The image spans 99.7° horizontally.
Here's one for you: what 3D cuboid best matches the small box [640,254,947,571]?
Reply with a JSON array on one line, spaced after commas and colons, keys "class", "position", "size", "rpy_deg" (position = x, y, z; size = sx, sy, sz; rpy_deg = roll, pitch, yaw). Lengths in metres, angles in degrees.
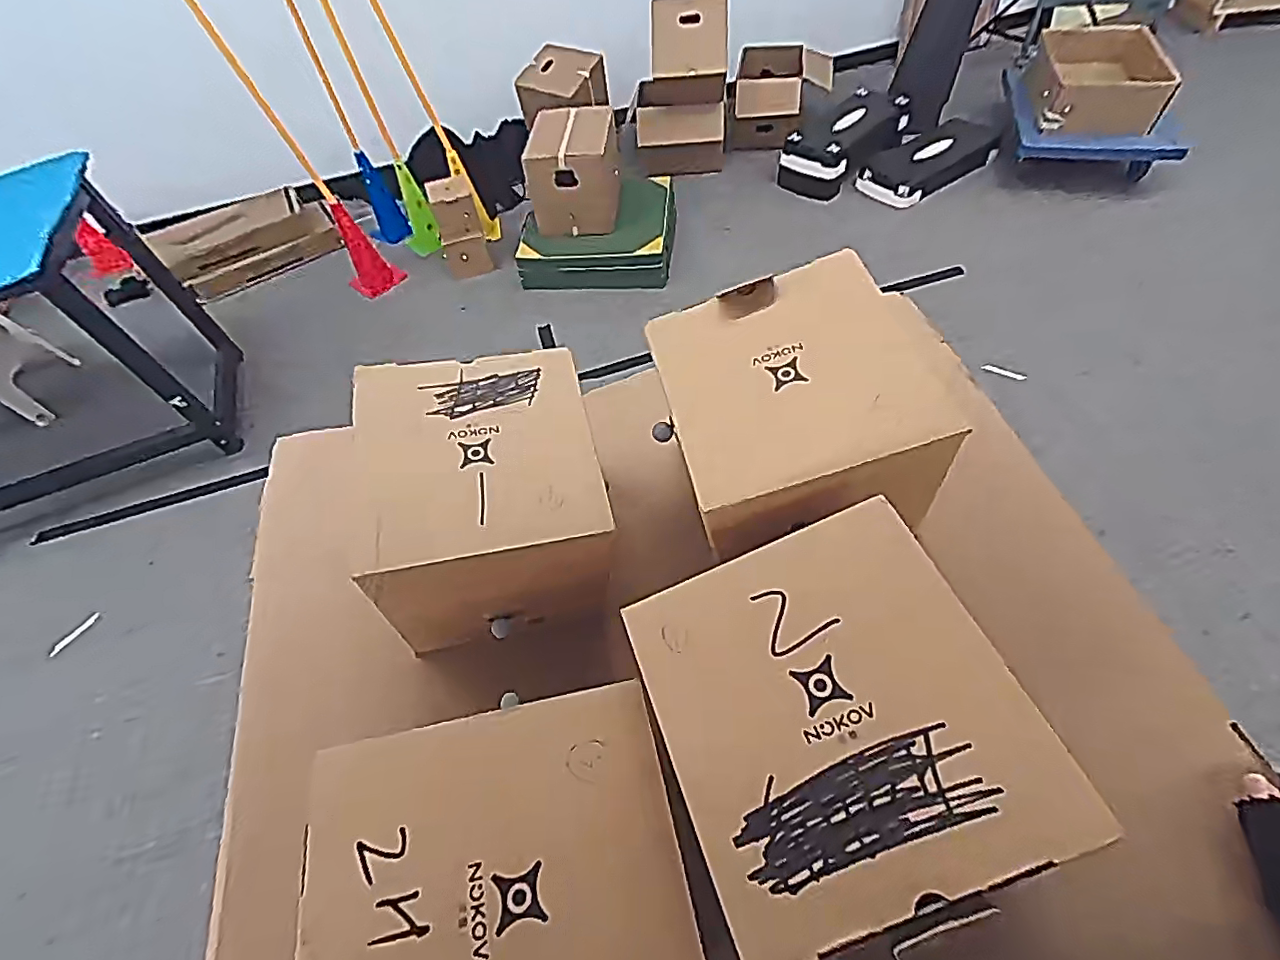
[{"class": "small box", "position": [0.114, -0.040, 0.444], "size": [0.168, 0.176, 0.179], "rpy_deg": [-18, 58, 6]}]
